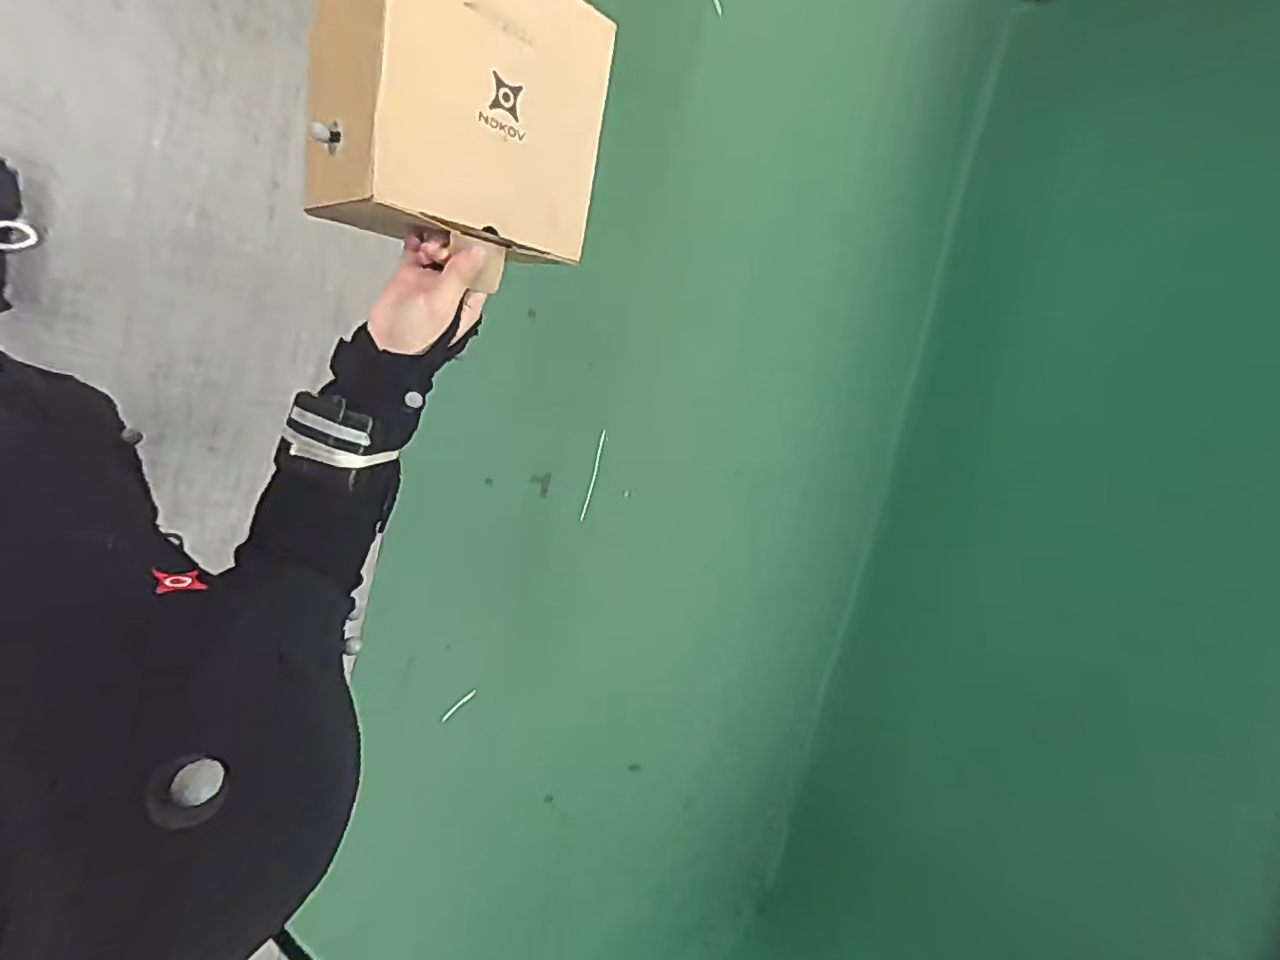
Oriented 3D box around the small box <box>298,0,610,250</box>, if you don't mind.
[{"bbox_3d":[-0.149,-0.290,0.420,0.168,0.176,0.179,-4,109,-45],"label":"small box"}]
